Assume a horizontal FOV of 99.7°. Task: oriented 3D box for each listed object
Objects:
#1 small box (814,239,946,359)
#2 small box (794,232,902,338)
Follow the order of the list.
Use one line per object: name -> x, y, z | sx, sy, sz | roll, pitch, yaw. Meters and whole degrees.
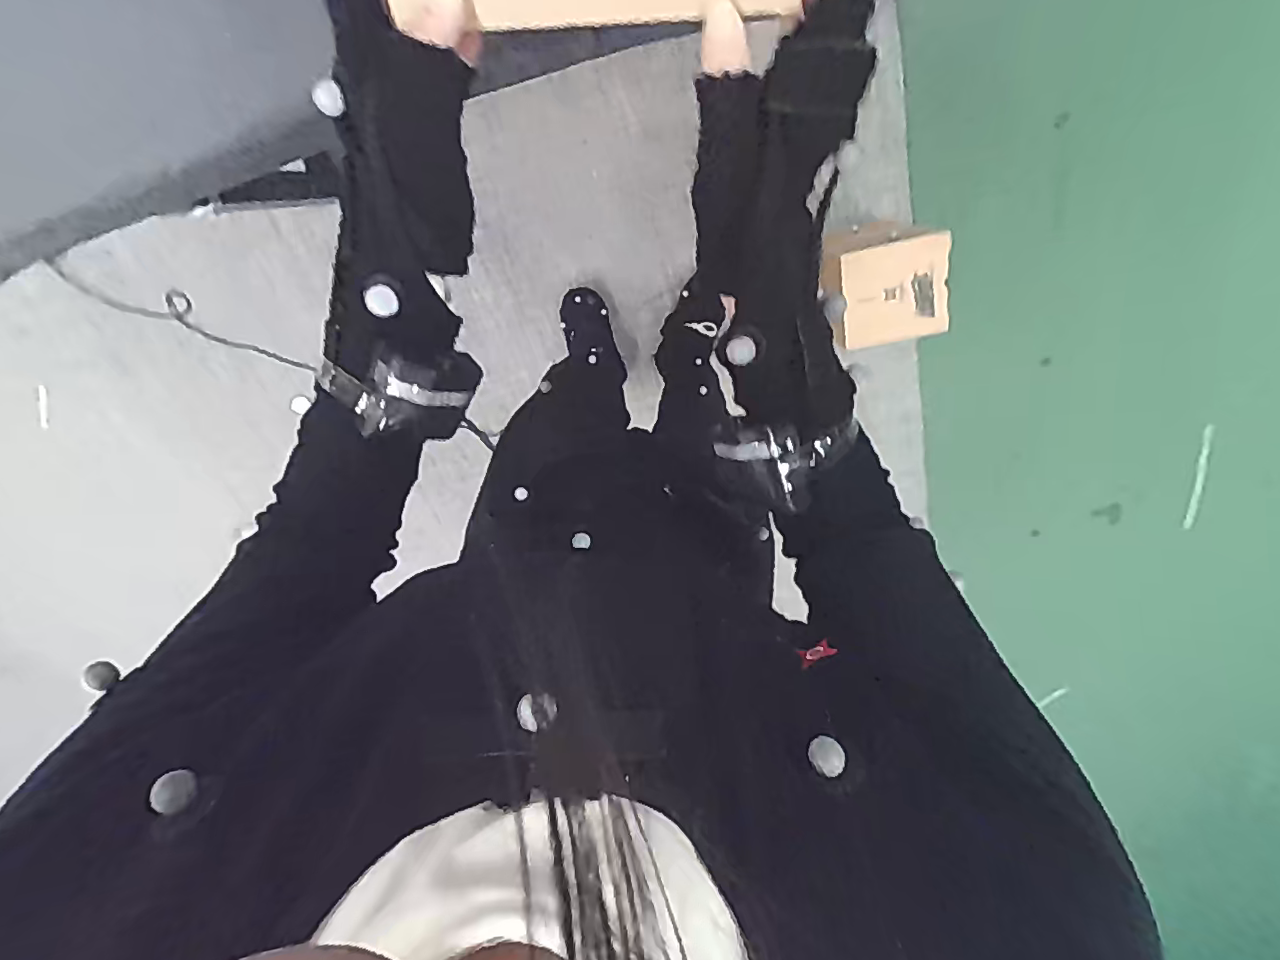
small box -> 0.432, -0.339, 0.996 | 0.179, 0.176, 0.168 | -9, 116, 8
small box -> 0.436, -0.415, 1.141 | 0.179, 0.176, 0.168 | -10, 116, 10
